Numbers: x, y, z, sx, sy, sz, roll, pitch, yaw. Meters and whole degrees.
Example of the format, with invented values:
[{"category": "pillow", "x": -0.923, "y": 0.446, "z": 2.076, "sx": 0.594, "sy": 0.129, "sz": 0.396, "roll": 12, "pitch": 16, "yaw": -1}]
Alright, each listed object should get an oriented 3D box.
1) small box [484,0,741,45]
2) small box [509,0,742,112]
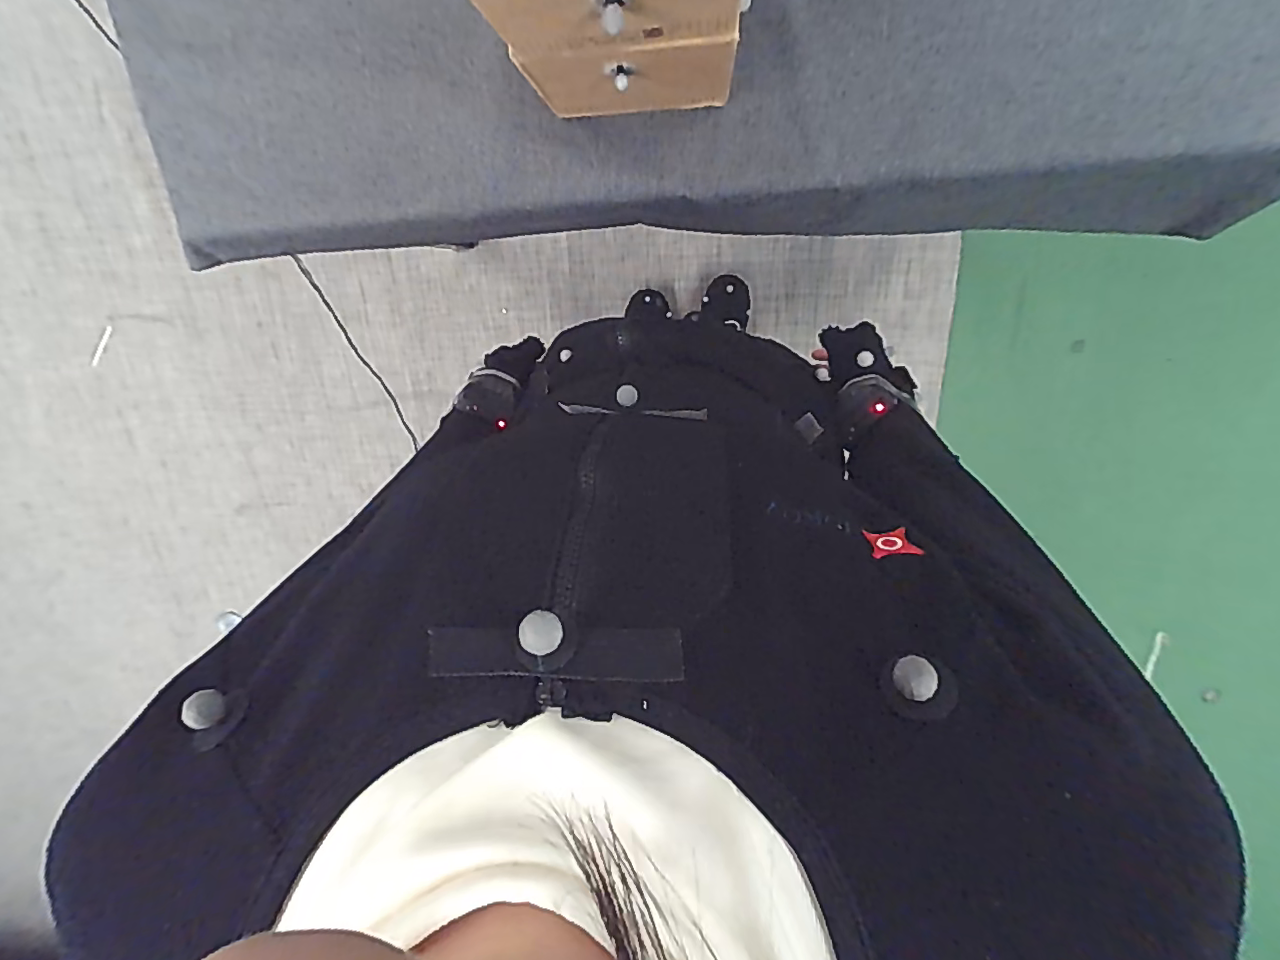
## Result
[{"category": "small box", "x": -0.023, "y": -0.374, "z": 0.298, "sx": 0.168, "sy": 0.176, "sz": 0.179, "roll": -2, "pitch": 111, "yaw": 7}, {"category": "small box", "x": -0.007, "y": -0.428, "z": 0.451, "sx": 0.179, "sy": 0.176, "sz": 0.168, "roll": -1, "pitch": 111, "yaw": 5}]
